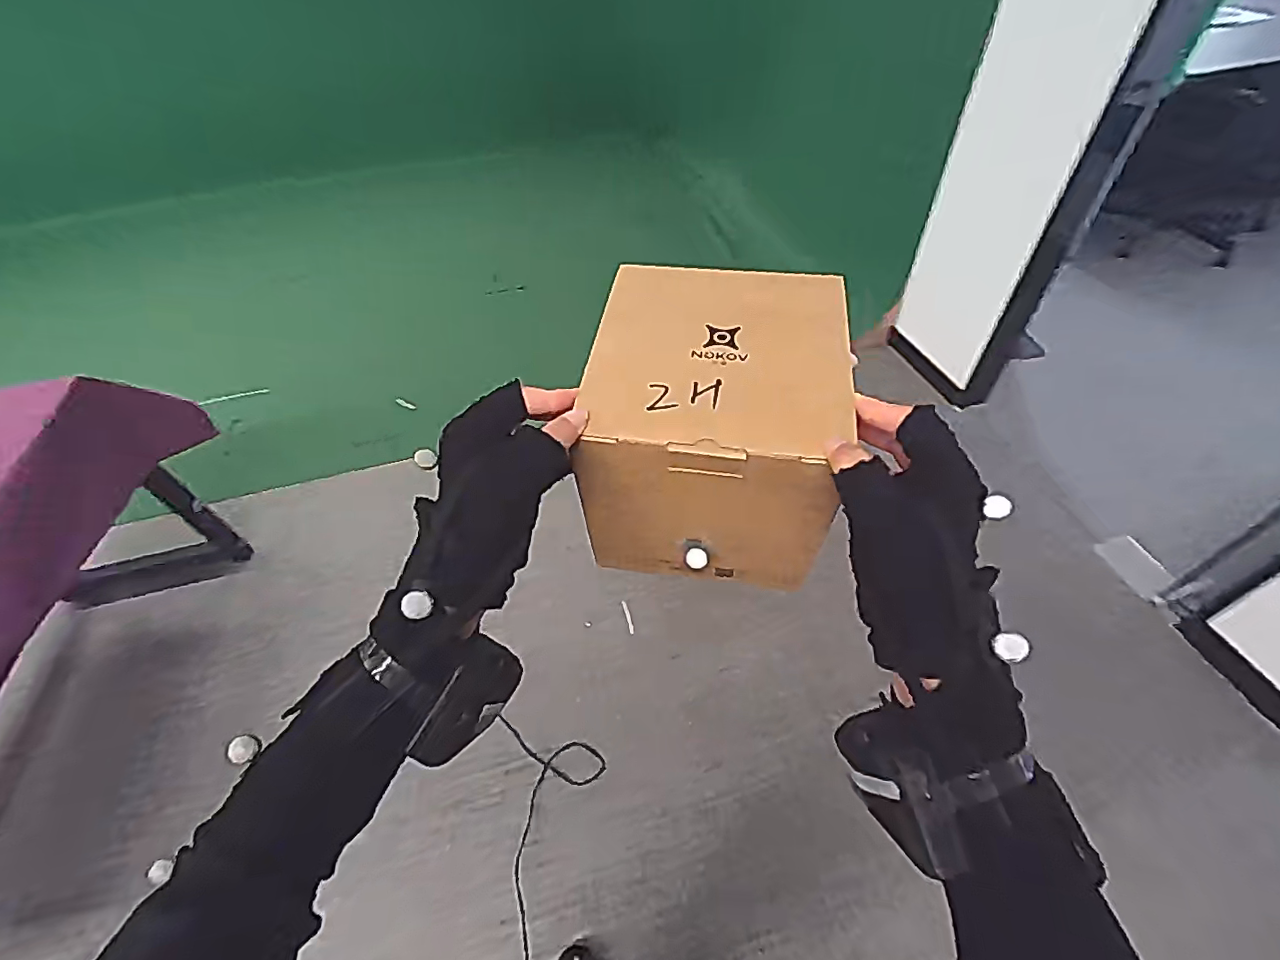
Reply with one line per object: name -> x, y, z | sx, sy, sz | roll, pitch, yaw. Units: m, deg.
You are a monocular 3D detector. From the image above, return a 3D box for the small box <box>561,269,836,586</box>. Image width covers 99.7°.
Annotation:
small box -> 0.048, -0.039, 0.427 | 0.168, 0.176, 0.179 | 5, 54, 8
